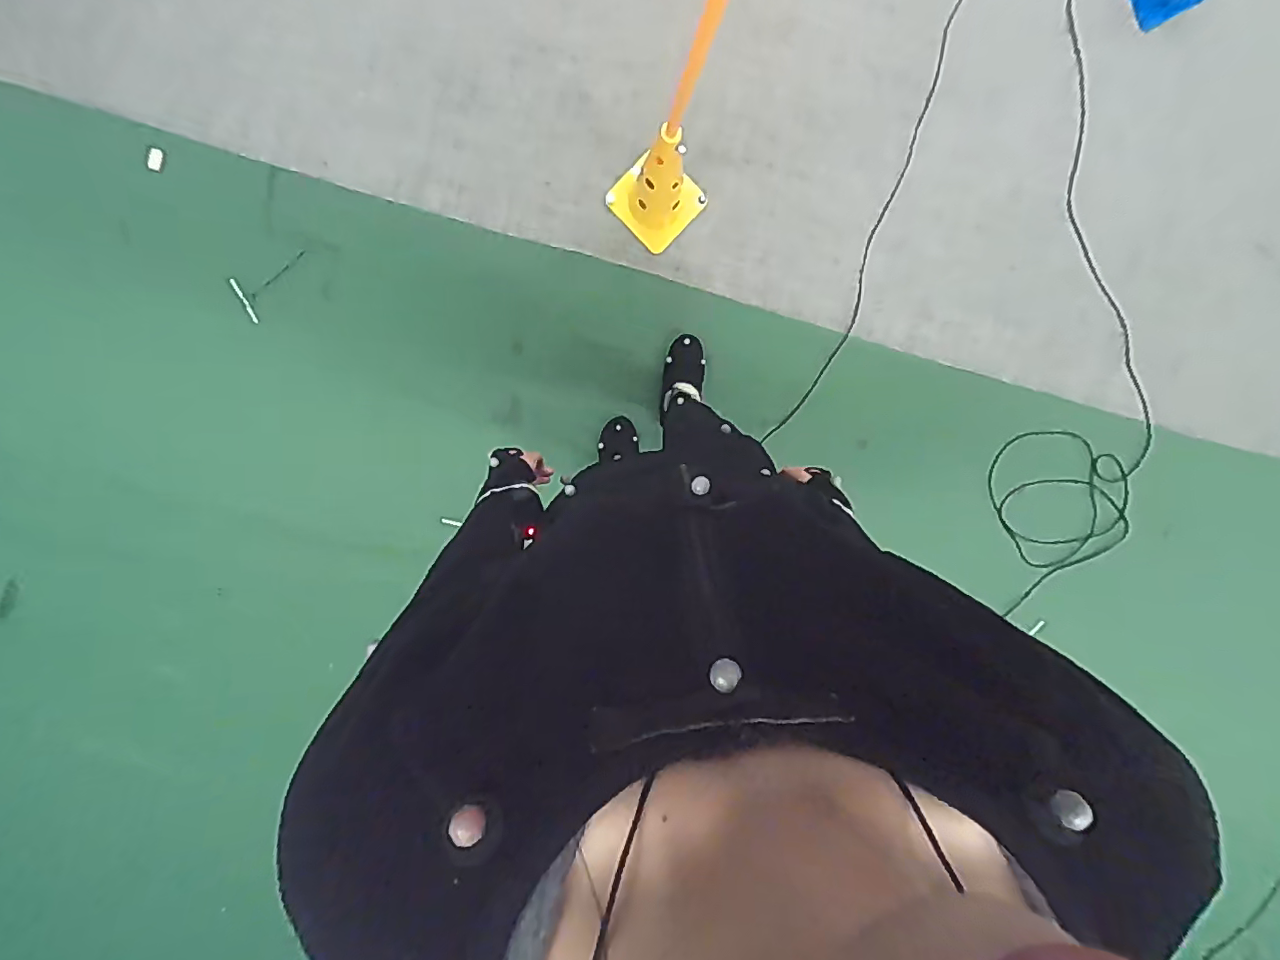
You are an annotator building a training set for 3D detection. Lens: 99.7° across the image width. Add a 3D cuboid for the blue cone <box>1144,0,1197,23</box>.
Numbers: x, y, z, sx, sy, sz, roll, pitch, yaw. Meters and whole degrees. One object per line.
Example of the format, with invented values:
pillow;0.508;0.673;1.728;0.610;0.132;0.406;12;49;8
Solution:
blue cone;1.372;-1.283;1.221;0.193;0.380;0.192;-31;97;-2
